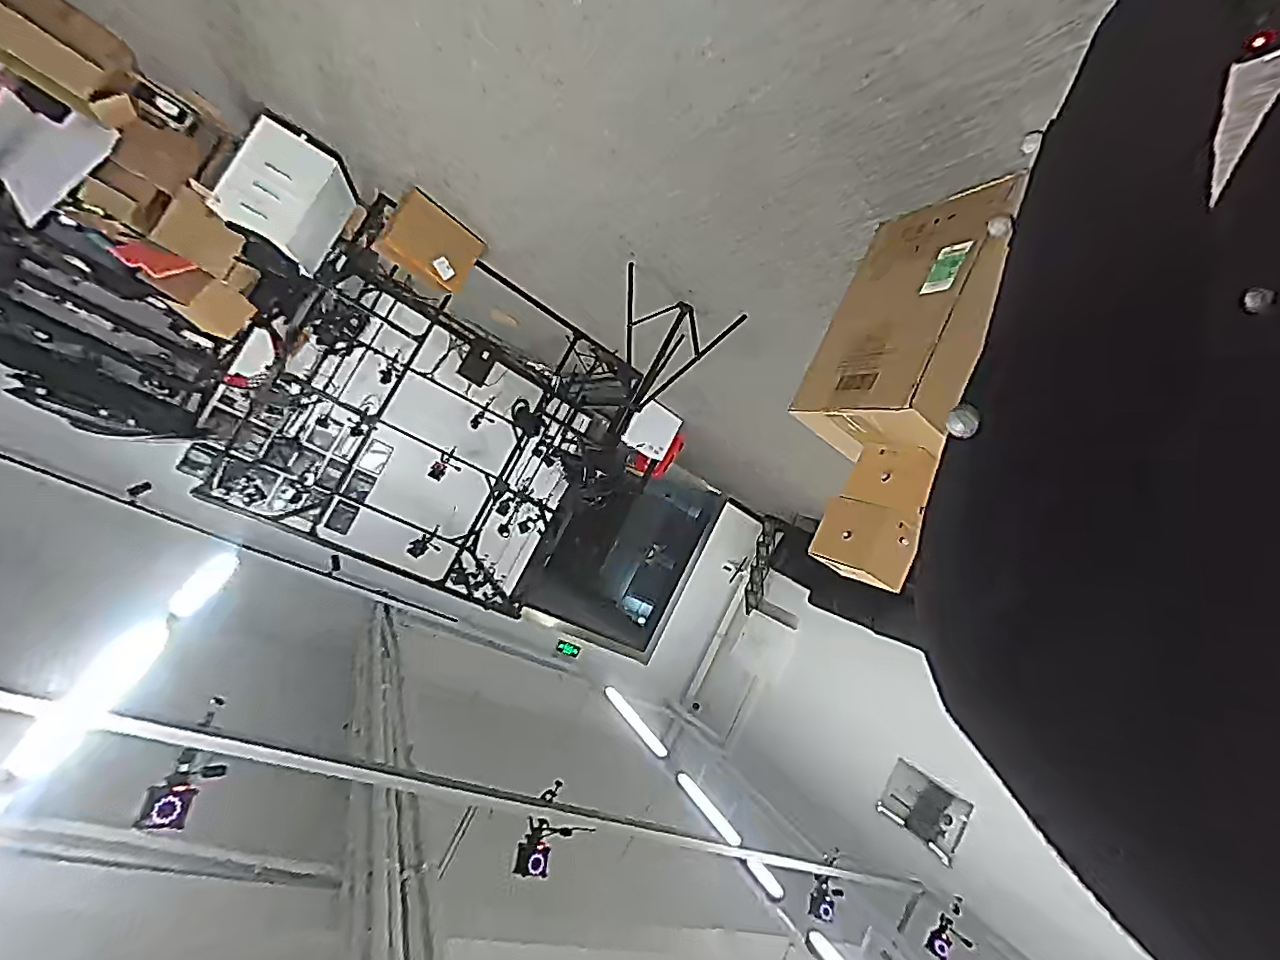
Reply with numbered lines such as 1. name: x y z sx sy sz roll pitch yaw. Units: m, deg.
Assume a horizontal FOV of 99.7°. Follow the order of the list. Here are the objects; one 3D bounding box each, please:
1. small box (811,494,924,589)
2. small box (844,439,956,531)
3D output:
1. small box: 0.578 0.150 1.373 0.168 0.176 0.179 29 173 -30
2. small box: 0.663 0.007 1.379 0.179 0.176 0.168 29 174 -29
